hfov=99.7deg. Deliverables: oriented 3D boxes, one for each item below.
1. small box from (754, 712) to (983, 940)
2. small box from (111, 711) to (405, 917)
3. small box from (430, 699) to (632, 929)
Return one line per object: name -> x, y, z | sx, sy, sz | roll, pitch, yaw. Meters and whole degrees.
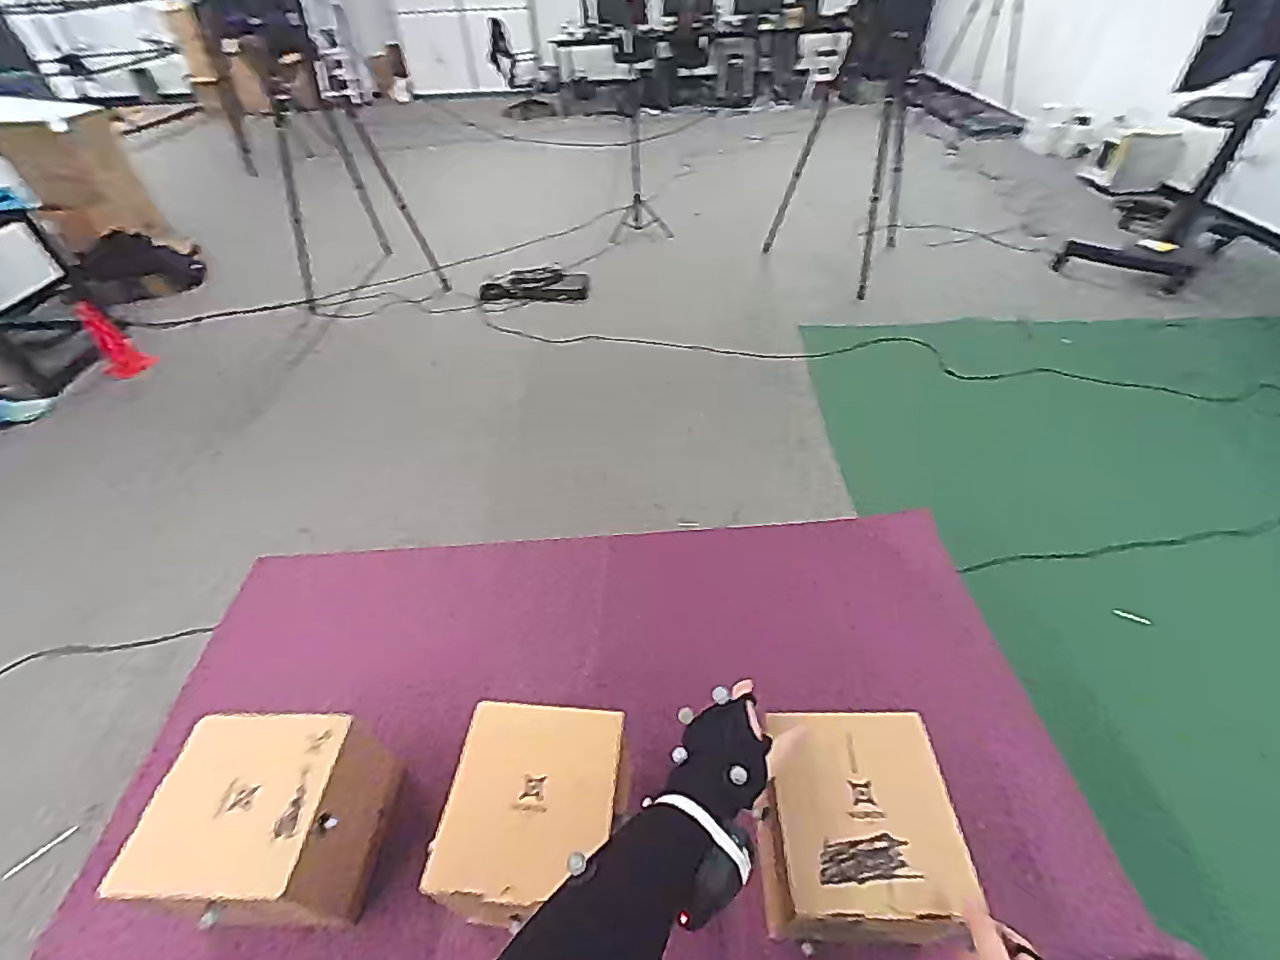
small box -> 0.219, 0.368, 0.576 | 0.168, 0.176, 0.179 | -1, 44, 3
small box -> -0.399, 0.376, 0.607 | 0.179, 0.176, 0.168 | -1, 45, 3
small box -> -0.101, 0.369, 0.600 | 0.168, 0.176, 0.179 | 2, 46, 6
